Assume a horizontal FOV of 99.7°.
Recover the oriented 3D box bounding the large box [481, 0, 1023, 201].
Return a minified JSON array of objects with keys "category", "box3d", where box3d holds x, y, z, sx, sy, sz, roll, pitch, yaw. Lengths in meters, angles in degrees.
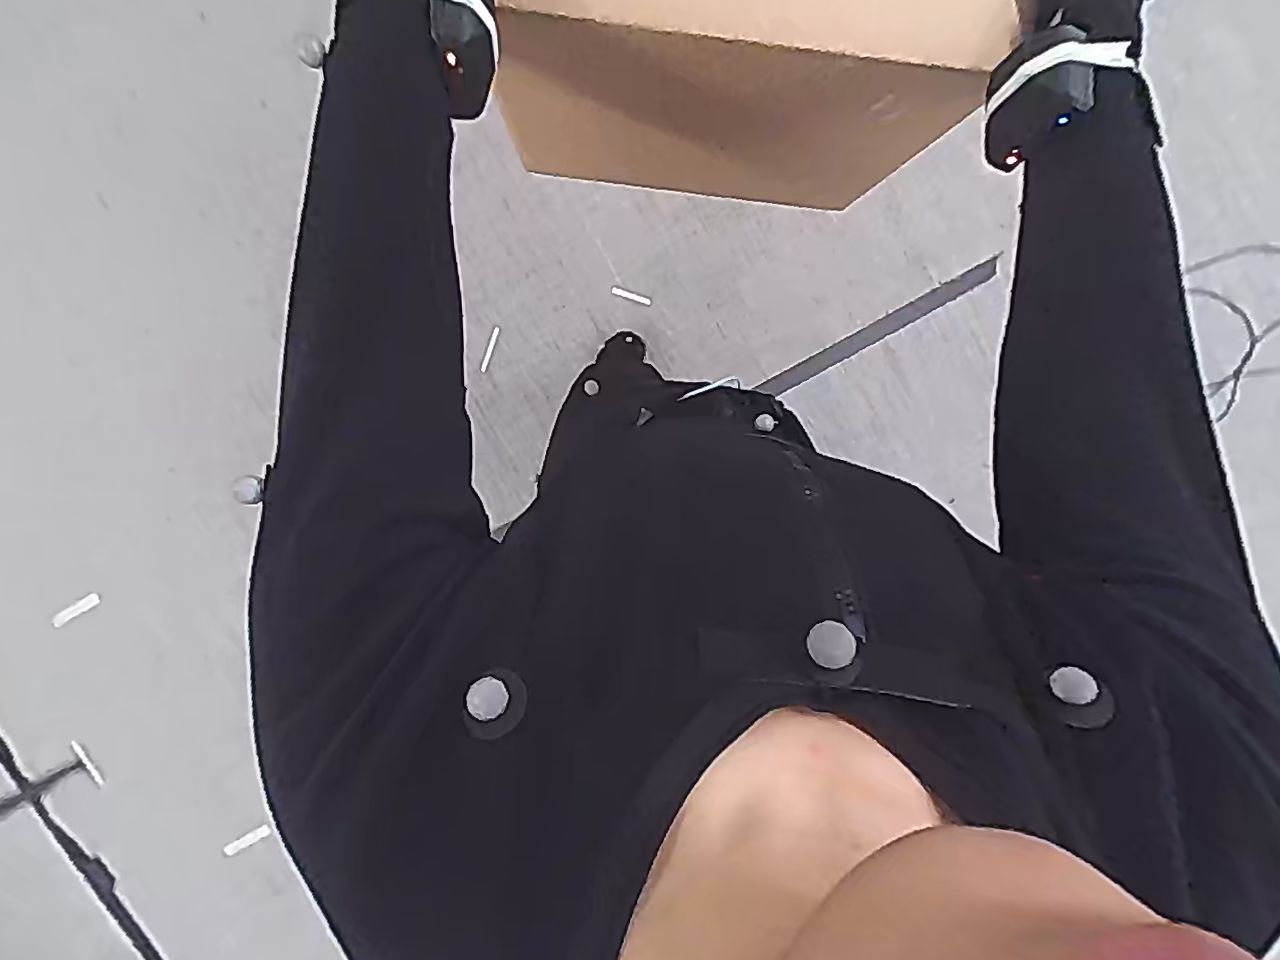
[{"category":"large box","box3d":[0.083,-0.495,0.509,0.408,0.320,0.320,5,101,-5]}]
